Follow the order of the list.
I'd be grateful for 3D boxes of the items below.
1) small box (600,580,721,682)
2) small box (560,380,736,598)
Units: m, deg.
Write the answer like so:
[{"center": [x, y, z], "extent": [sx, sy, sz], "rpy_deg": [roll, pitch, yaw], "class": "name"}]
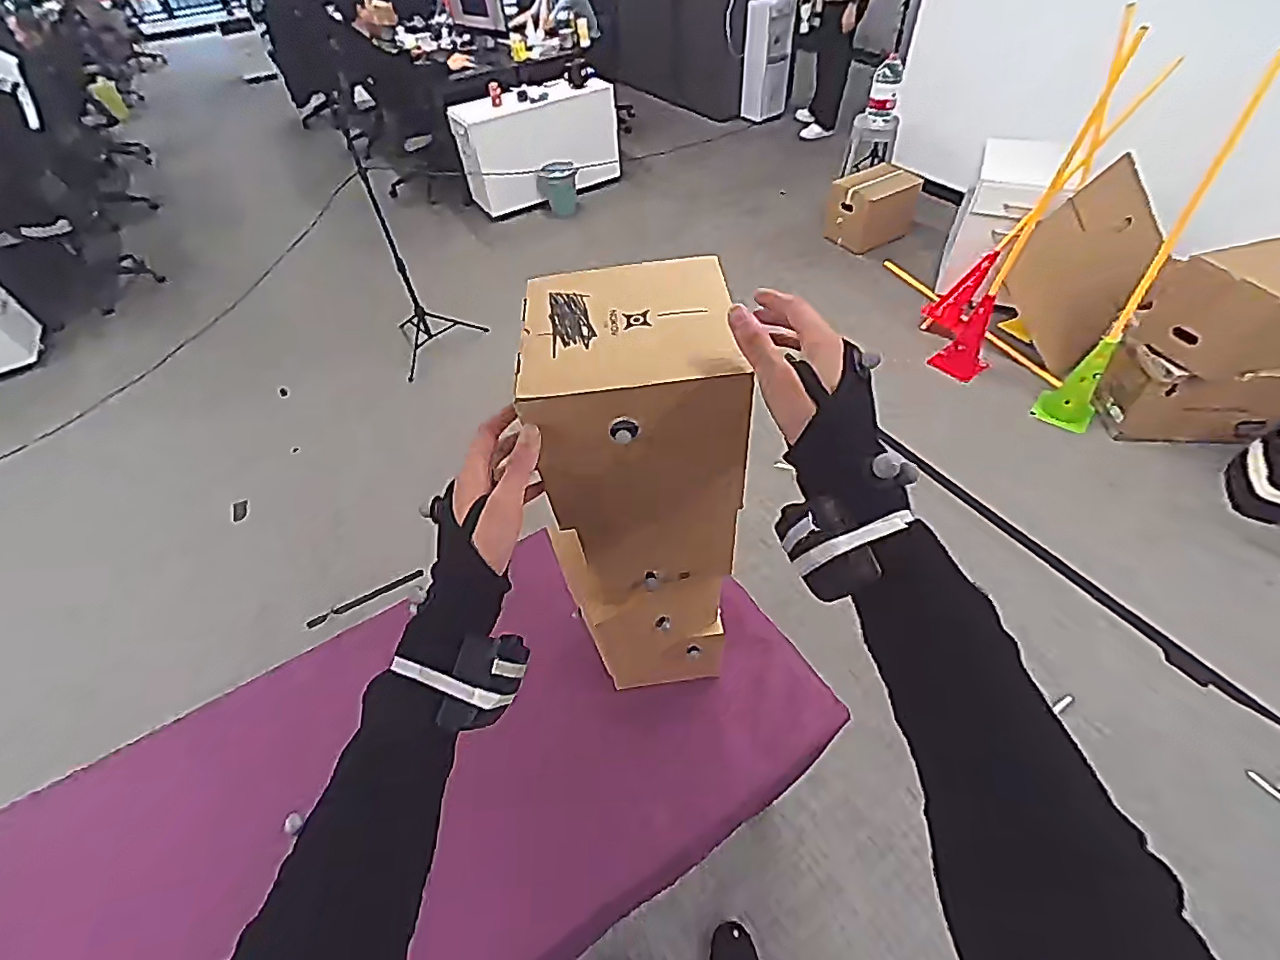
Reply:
[{"center": [0.029, 0.218, 0.890], "extent": [0.179, 0.176, 0.168], "rpy_deg": [-7, 50, -1], "class": "small box"}, {"center": [0.006, 0.013, 0.635], "extent": [0.168, 0.176, 0.179], "rpy_deg": [-11, 51, -2], "class": "small box"}]
